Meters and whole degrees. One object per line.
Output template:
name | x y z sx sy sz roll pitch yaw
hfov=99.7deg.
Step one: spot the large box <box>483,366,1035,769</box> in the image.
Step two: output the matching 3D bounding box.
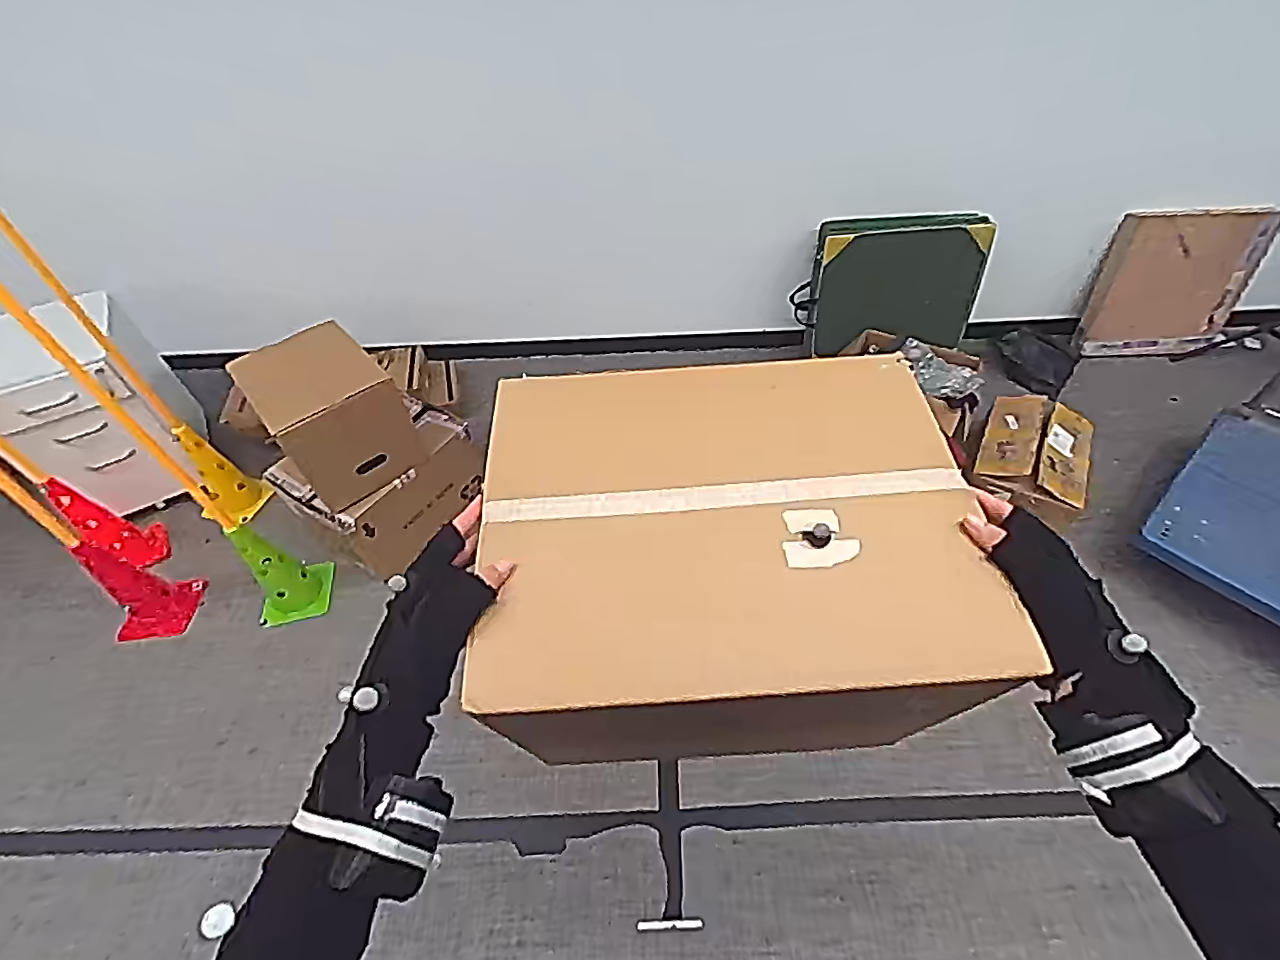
large box | 0.078 0.107 0.585 0.408 0.320 0.320 -4 56 -1
